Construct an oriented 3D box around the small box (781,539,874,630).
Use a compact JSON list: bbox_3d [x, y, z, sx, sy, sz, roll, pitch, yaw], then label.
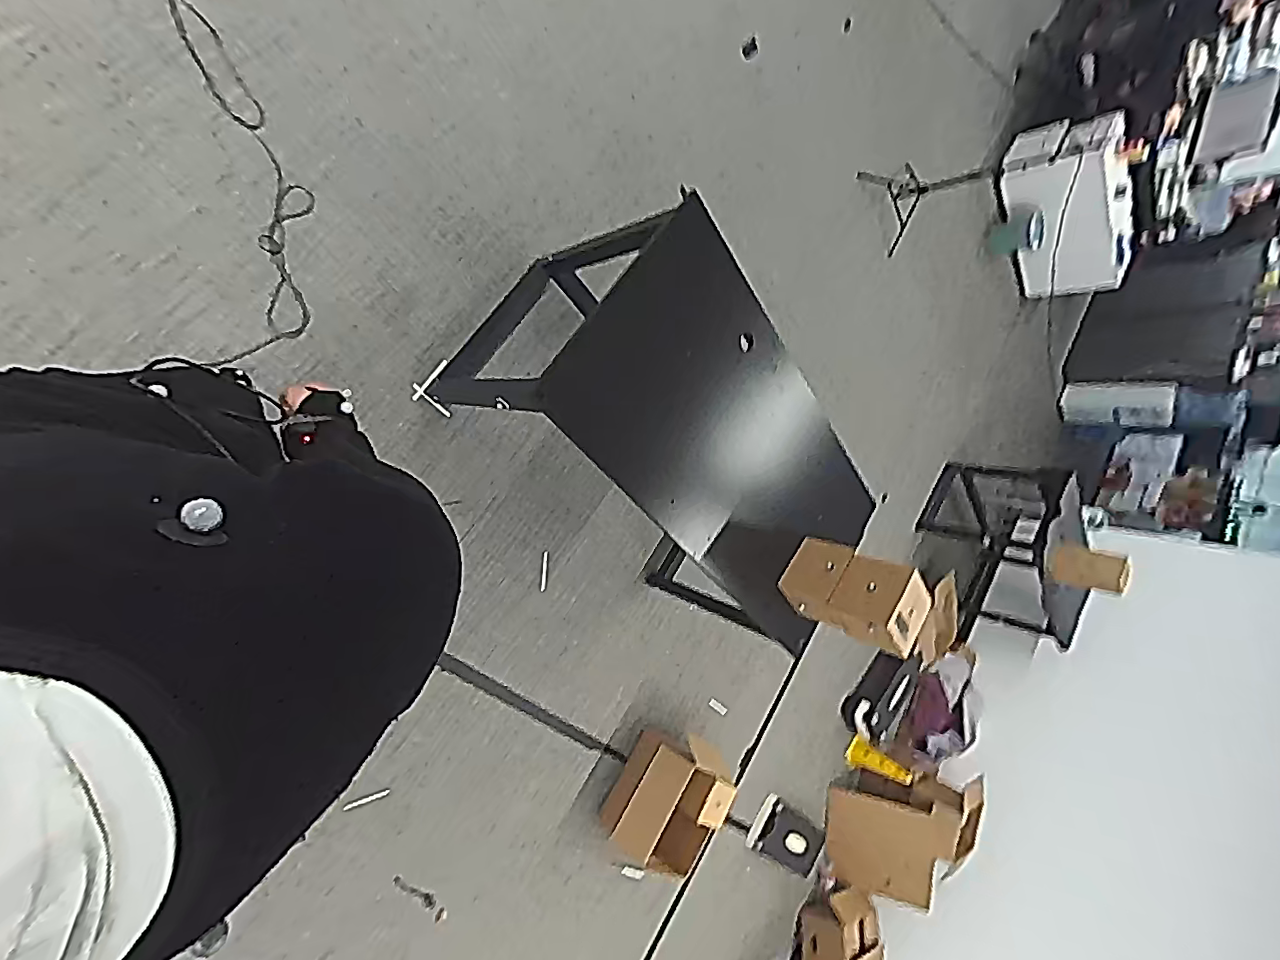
[{"bbox_3d":[0.537,0.292,1.556,0.179,0.176,0.168,-52,124,-20],"label":"small box"}]
